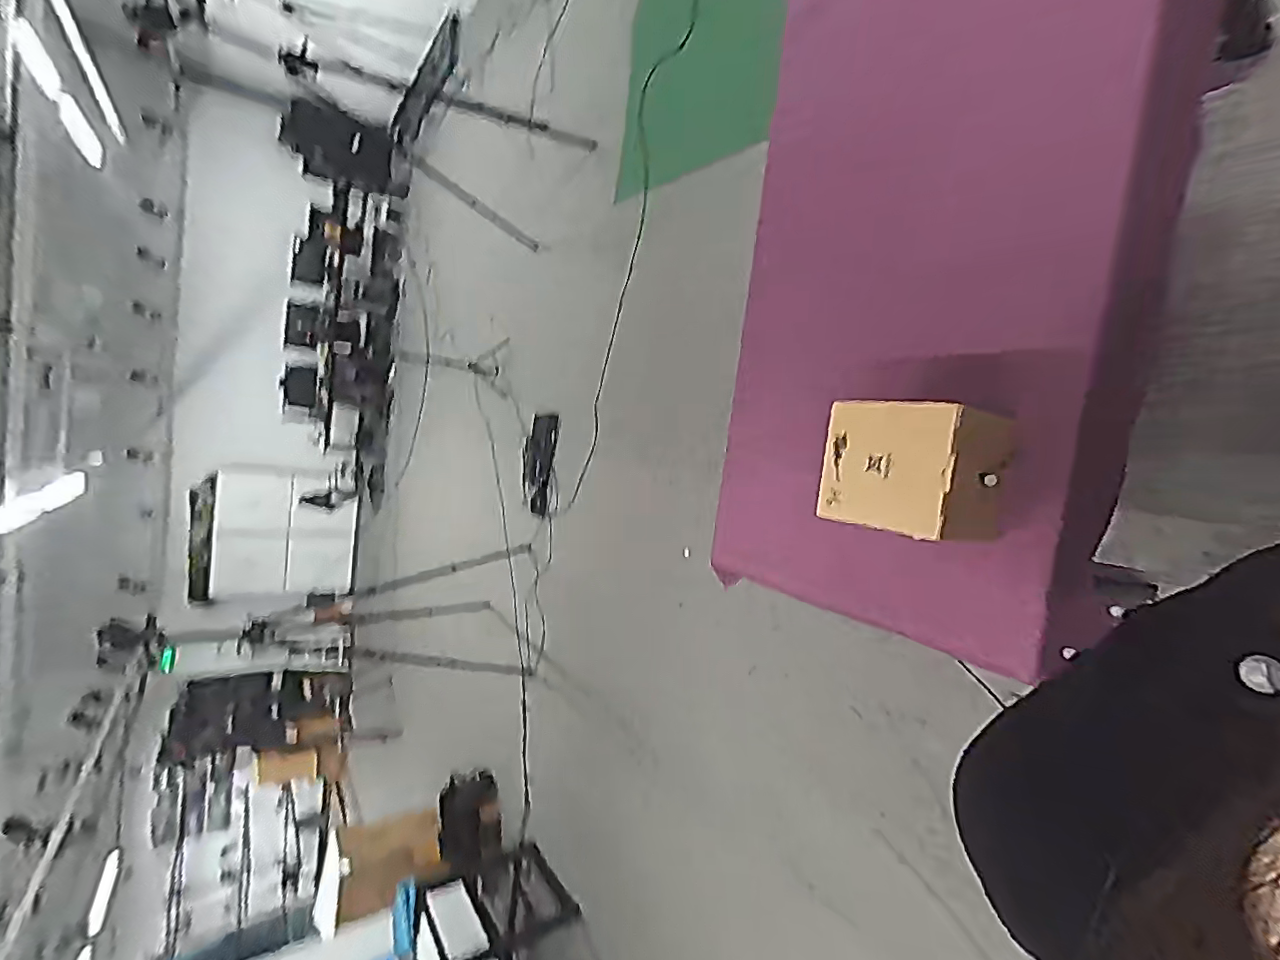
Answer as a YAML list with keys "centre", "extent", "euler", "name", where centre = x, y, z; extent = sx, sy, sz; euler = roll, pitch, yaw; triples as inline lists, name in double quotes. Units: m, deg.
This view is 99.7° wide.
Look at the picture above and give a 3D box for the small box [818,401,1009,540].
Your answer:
- centre: [0.383, -0.016, 0.759]
  extent: [0.179, 0.176, 0.168]
  euler: [13, 96, 54]
  name: "small box"
